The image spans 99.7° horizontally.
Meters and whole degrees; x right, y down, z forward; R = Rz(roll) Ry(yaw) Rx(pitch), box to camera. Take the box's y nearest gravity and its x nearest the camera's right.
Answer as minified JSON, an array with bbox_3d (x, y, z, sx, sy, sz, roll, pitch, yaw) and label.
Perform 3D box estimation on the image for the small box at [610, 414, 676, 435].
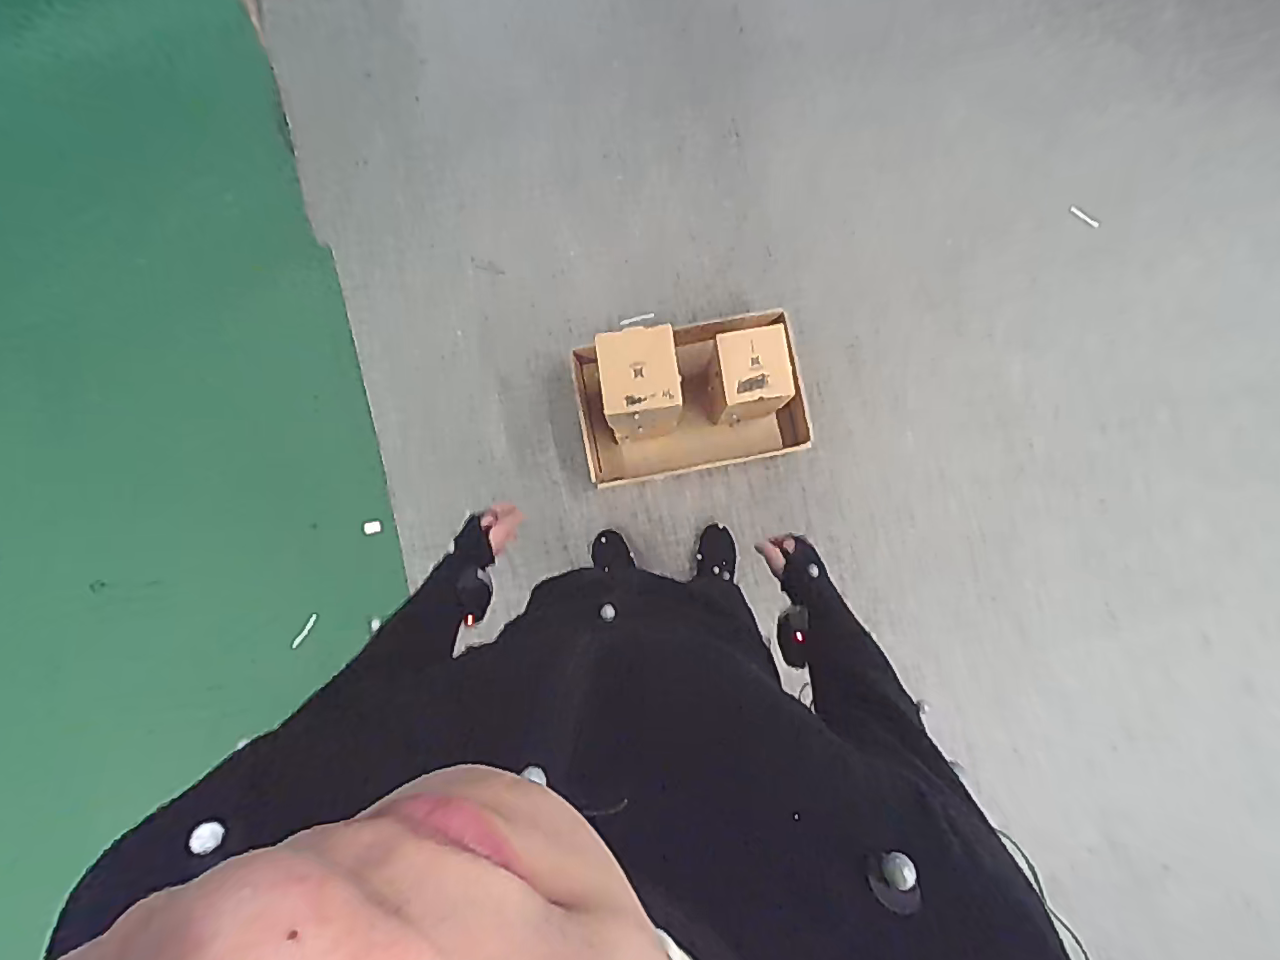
[{"bbox_3d":[-0.010,-0.222,1.358,0.168,0.176,0.179,-10,86,-1],"label":"small box"}]

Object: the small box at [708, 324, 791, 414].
[{"bbox_3d":[0.269,-0.268,1.355,0.168,0.176,0.179,-9,86,2],"label":"small box"}]

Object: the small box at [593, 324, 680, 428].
[{"bbox_3d":[-0.009,-0.223,1.193,0.168,0.176,0.179,-7,85,-1],"label":"small box"}]
